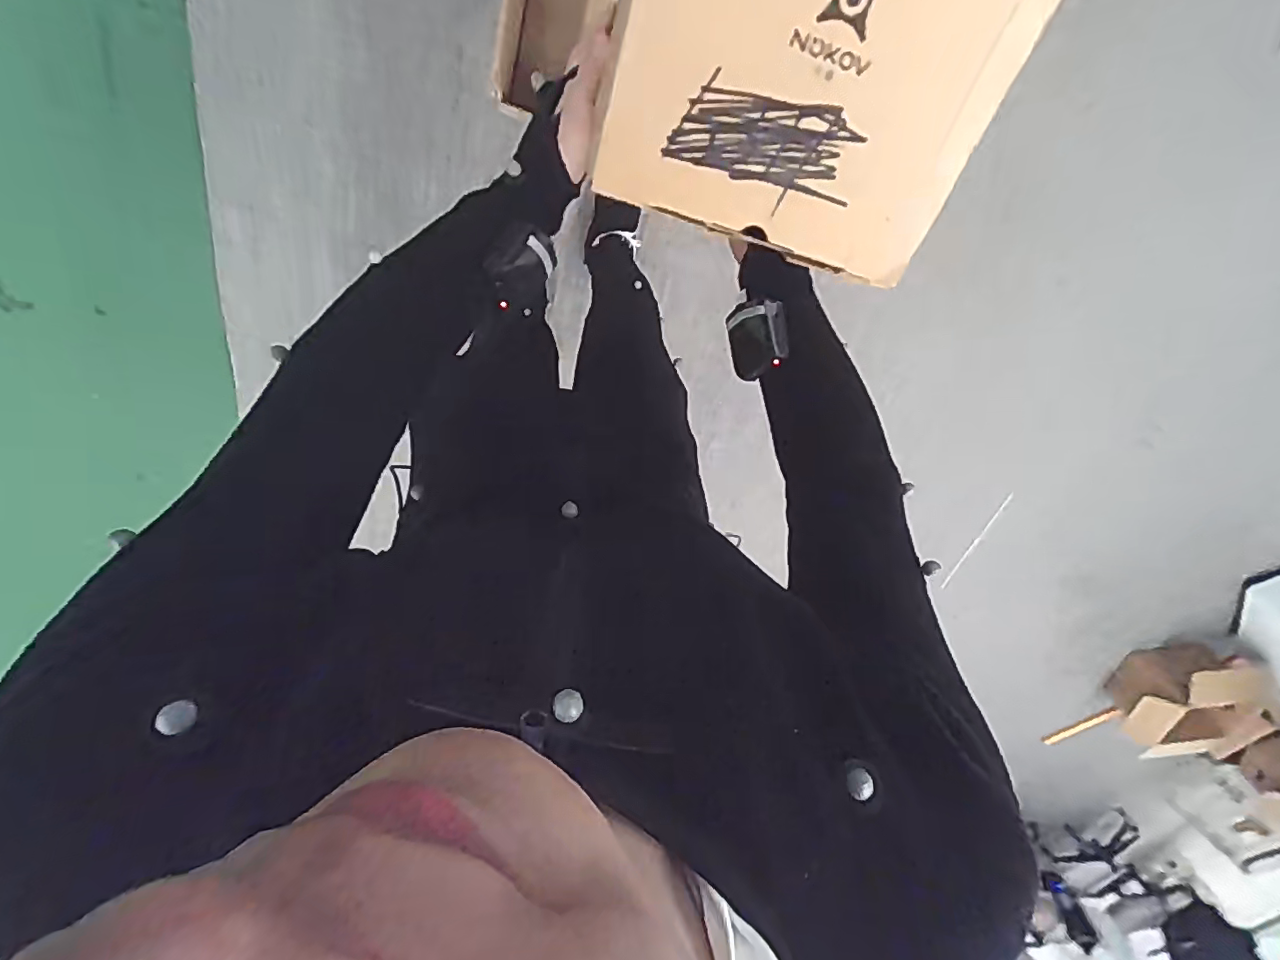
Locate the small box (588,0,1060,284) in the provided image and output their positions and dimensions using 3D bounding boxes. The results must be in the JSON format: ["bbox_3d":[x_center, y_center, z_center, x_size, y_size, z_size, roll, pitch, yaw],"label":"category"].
[{"bbox_3d":[0.075,-0.232,0.279,0.168,0.176,0.179,12,124,-13],"label":"small box"}]
